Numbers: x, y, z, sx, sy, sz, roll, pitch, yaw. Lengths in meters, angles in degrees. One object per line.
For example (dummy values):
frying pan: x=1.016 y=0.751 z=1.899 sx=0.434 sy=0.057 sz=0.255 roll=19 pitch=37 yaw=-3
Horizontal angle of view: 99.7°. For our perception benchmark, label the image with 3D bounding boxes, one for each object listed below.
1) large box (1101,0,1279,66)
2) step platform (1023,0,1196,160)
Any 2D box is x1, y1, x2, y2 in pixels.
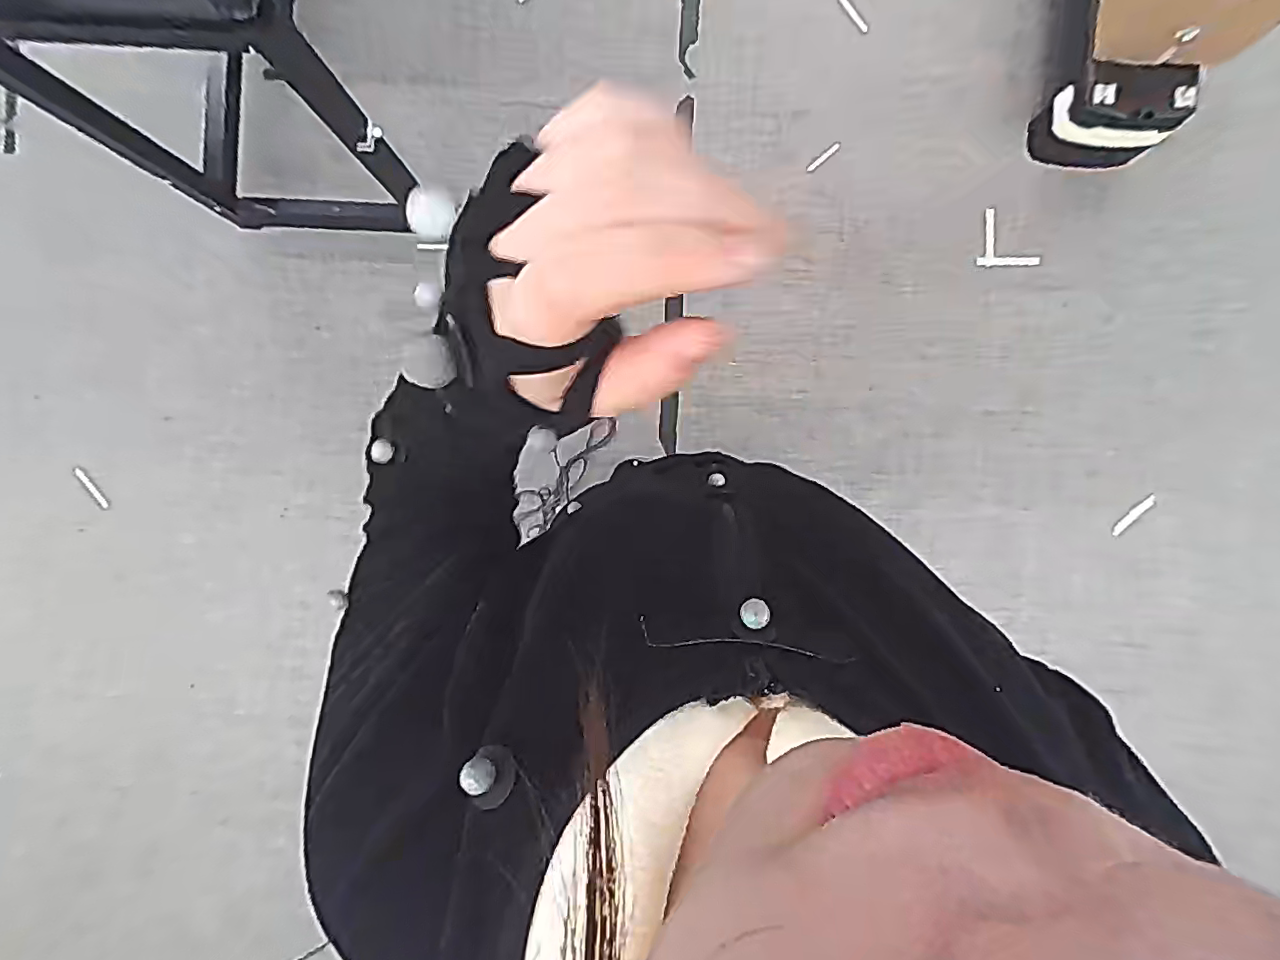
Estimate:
large box: x=1.246 y=-1.179 z=1.135 sx=0.320 sy=0.320 sz=0.408 roll=3 pitch=90 yaw=0
step platform: x=1.224 y=-1.213 z=1.373 sx=0.286 sy=0.204 sz=0.684 roll=8 pitch=90 yaw=0
